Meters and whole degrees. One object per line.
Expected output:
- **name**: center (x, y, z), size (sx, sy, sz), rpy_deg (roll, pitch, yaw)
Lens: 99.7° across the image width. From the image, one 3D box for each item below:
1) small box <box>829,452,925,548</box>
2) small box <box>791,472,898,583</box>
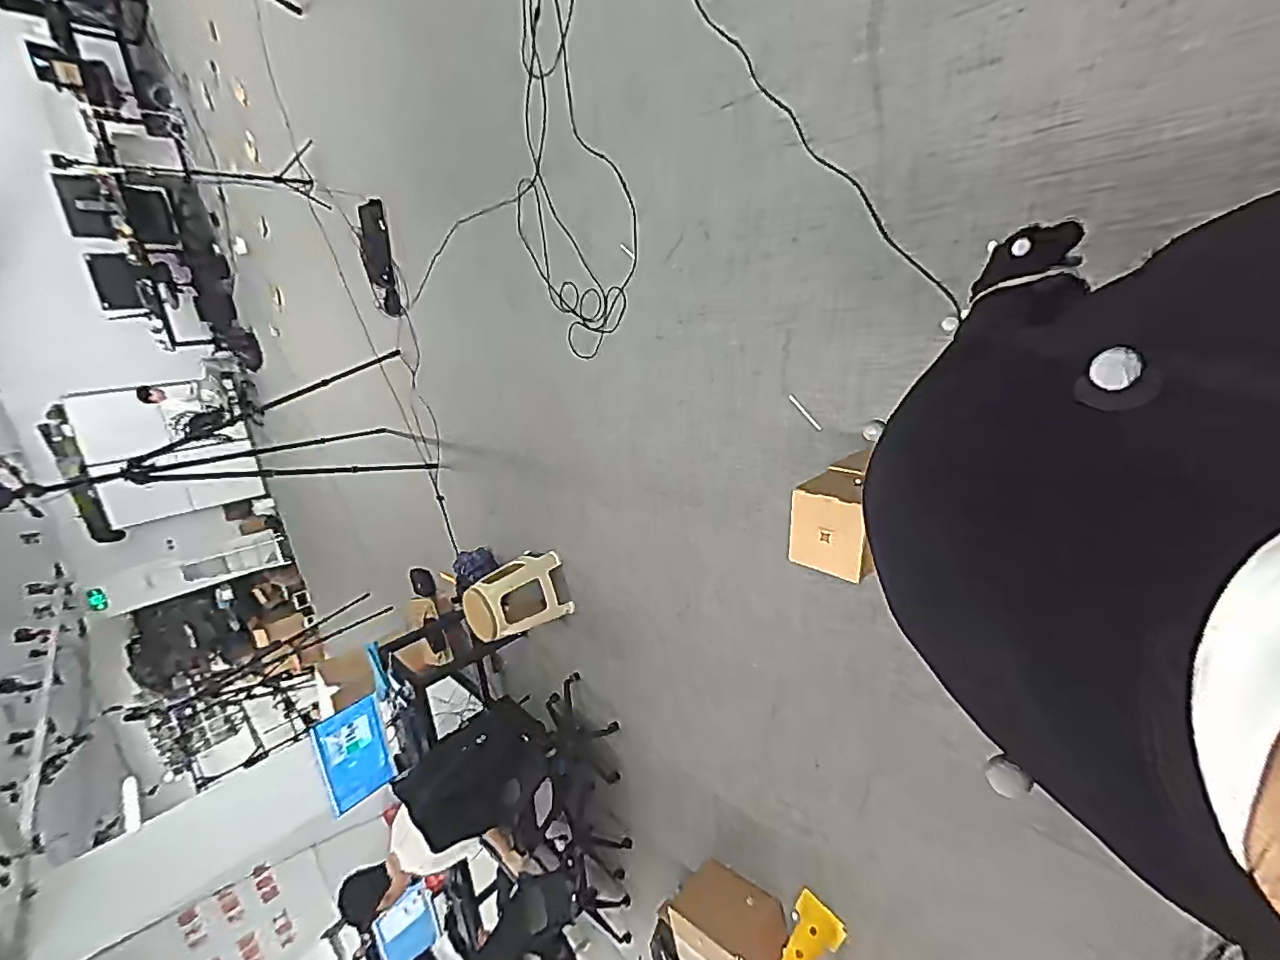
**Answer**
- **small box**: center (0.566, 0.045, 1.300), size (0.168, 0.176, 0.179), rpy_deg (16, 116, 42)
- **small box**: center (0.453, 0.096, 1.196), size (0.168, 0.176, 0.179), rpy_deg (15, 116, 43)
